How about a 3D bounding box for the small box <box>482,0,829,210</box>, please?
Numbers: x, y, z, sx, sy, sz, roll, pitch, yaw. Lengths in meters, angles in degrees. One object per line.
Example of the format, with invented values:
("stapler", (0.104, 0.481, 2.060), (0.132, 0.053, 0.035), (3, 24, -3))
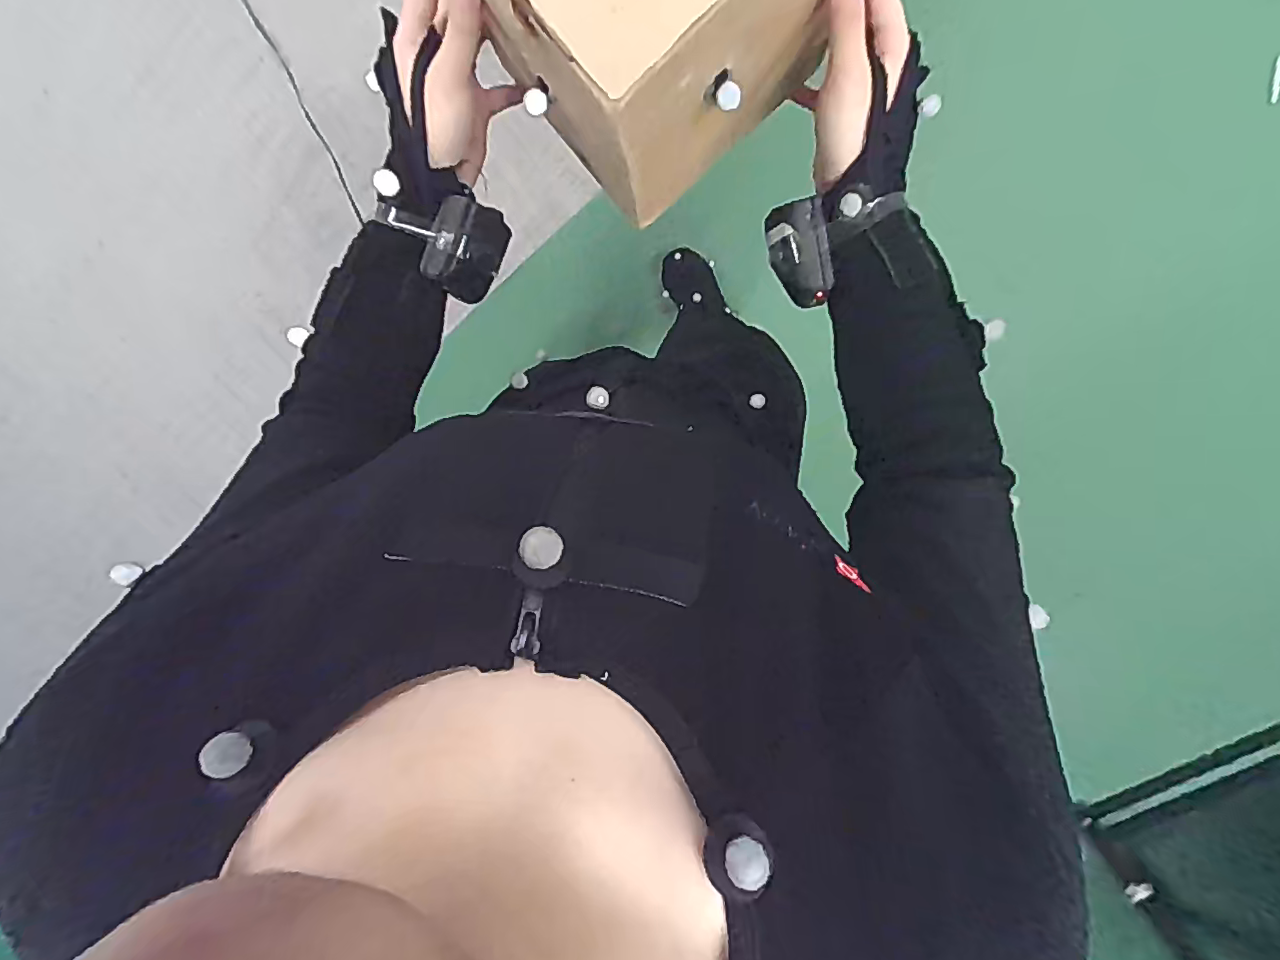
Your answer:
("small box", (0.007, -0.306, 0.327), (0.179, 0.176, 0.168), (-41, 92, 8))
